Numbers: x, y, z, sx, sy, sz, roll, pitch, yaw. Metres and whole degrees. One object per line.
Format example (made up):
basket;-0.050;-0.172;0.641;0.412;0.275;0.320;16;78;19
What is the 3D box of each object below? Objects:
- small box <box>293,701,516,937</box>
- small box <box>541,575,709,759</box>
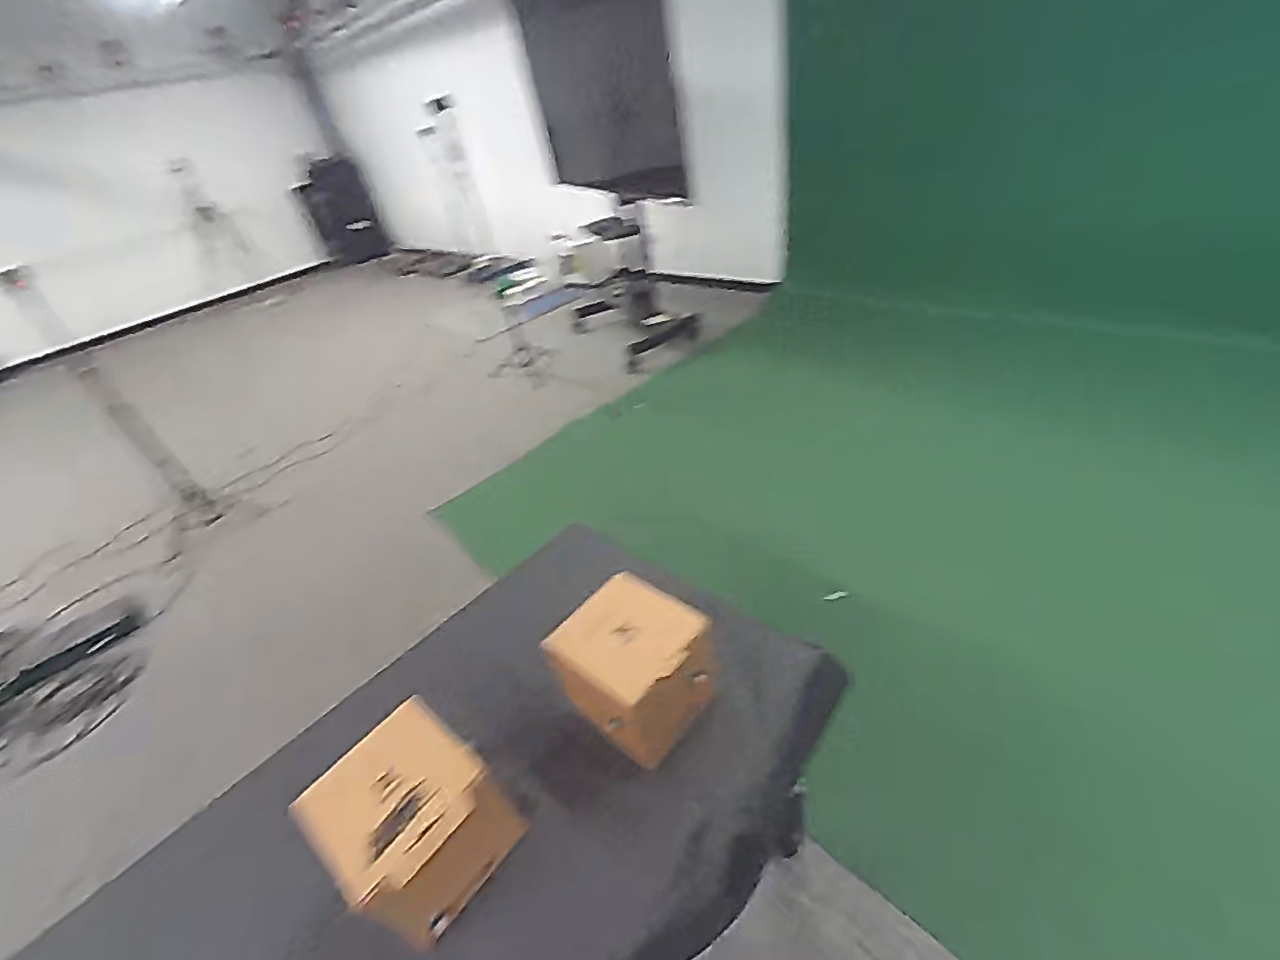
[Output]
small box;-0.287;0.429;0.688;0.179;0.176;0.168;19;46;36
small box;-0.014;0.280;0.810;0.179;0.176;0.168;20;46;38
